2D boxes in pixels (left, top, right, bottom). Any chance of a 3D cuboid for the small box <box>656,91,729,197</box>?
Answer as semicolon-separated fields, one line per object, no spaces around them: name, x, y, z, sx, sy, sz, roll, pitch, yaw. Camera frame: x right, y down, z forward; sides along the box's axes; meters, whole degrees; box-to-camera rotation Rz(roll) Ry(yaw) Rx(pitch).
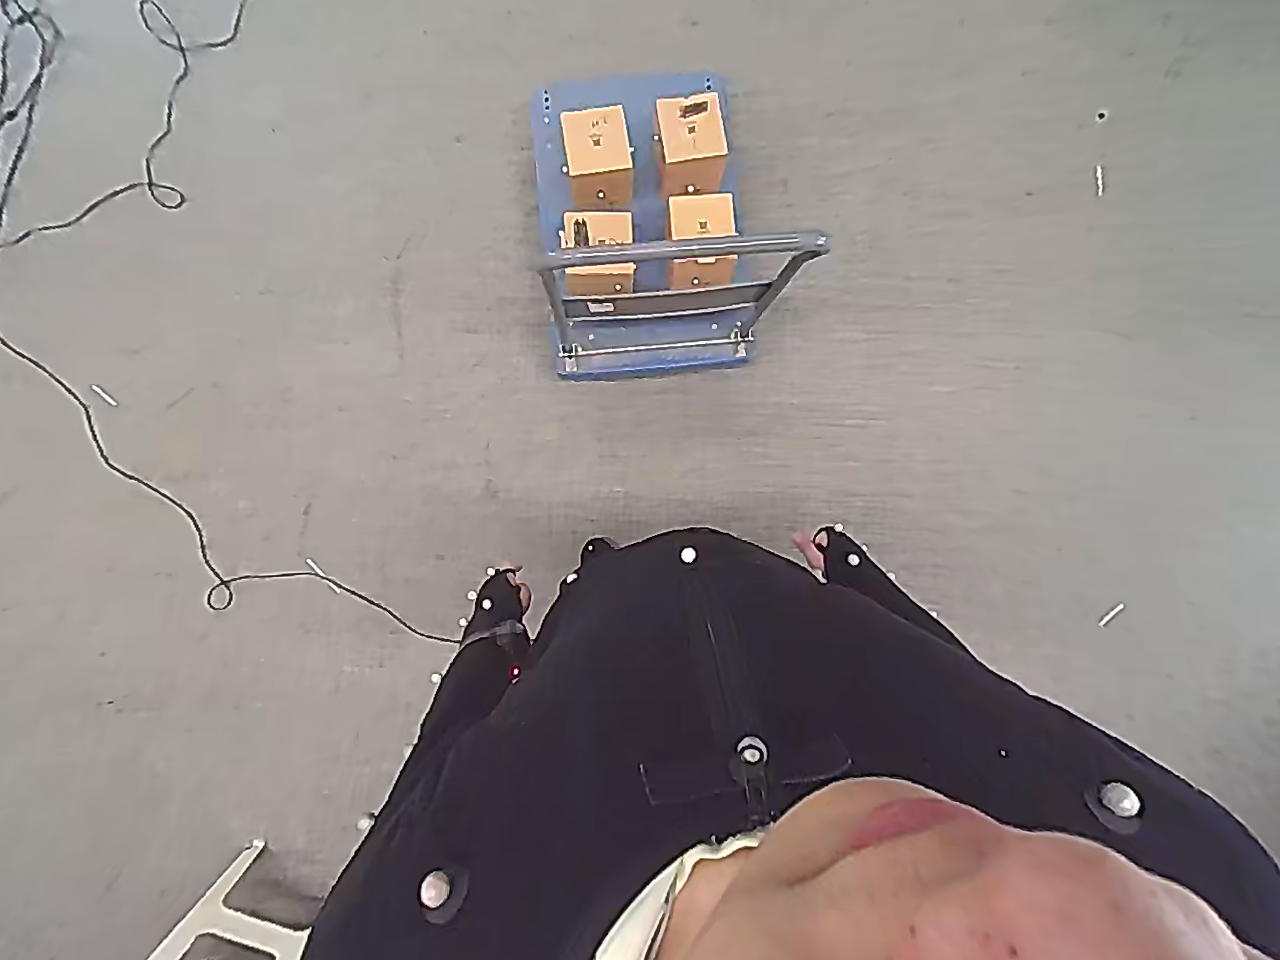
small box;0.137;-0.911;1.476;0.168;0.176;0.179;-9;87;-1

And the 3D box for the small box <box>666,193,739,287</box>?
small box;0.163;-0.643;1.459;0.168;0.176;0.179;-4;86;-2

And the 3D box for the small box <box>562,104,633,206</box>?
small box;-0.111;-0.870;1.467;0.168;0.176;0.179;-9;86;-3
